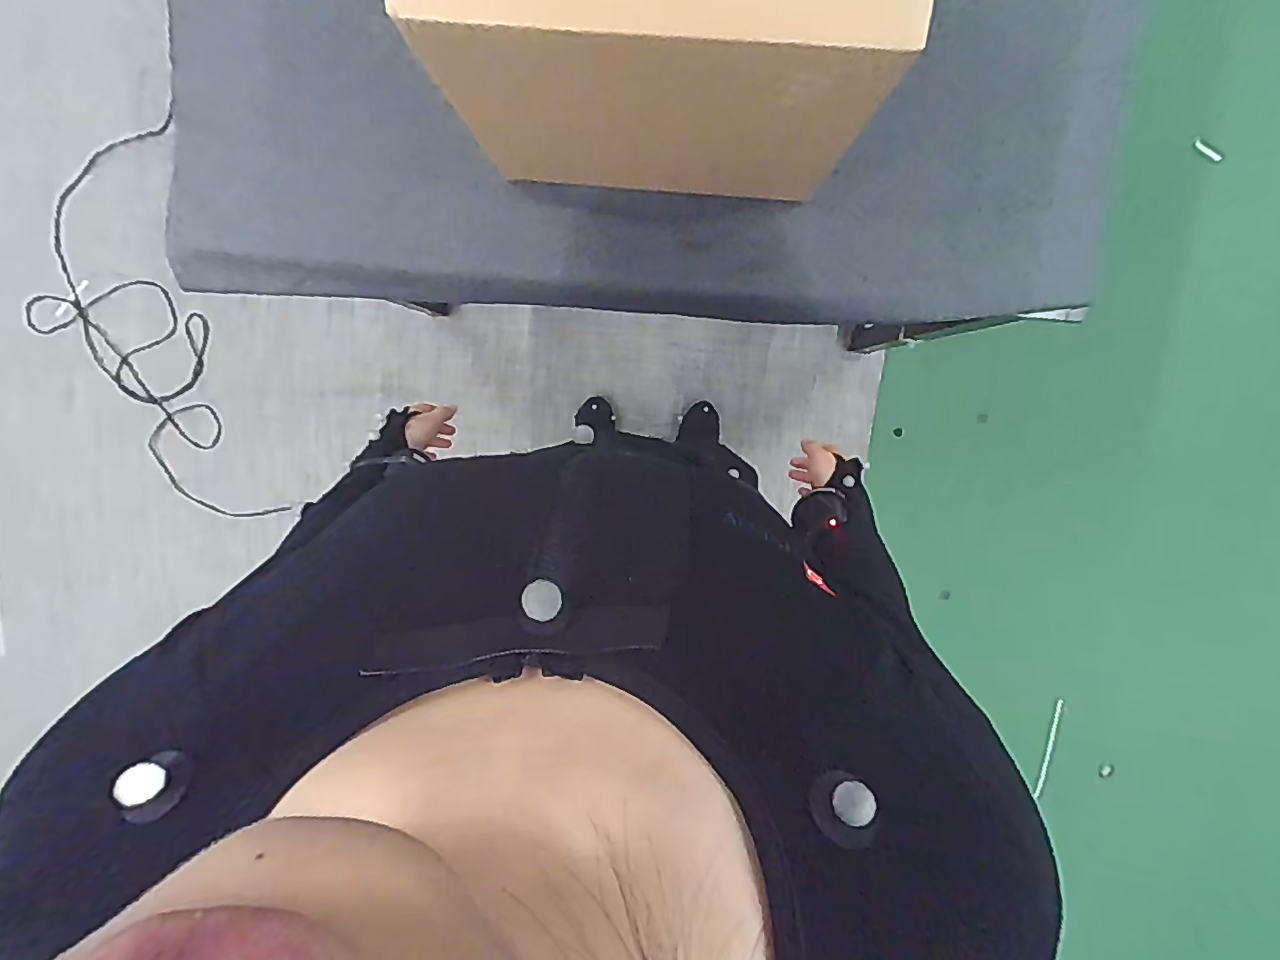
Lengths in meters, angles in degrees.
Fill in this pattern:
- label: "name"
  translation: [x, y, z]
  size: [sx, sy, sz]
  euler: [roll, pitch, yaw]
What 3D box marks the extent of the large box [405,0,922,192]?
- label: "large box"
  translation: [0.026, -0.513, 0.541]
  size: [0.408, 0.320, 0.320]
  euler: [5, 100, 1]
